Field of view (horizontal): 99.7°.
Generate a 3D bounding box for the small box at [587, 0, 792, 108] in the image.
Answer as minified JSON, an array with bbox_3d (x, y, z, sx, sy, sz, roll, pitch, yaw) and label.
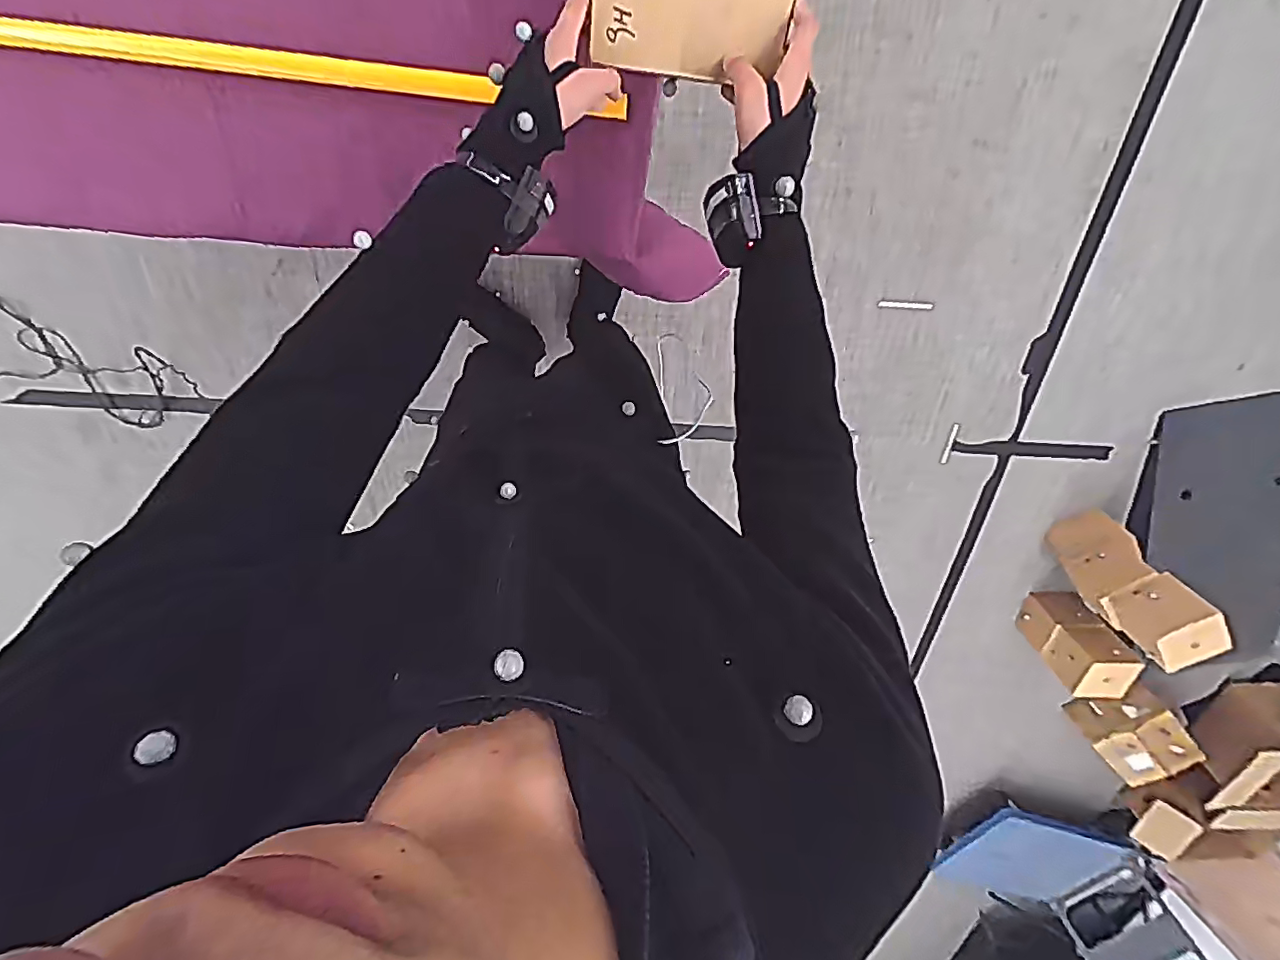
[{"bbox_3d":[0.043,-0.477,0.521,0.179,0.176,0.168,4,127,-7],"label":"small box"}]
